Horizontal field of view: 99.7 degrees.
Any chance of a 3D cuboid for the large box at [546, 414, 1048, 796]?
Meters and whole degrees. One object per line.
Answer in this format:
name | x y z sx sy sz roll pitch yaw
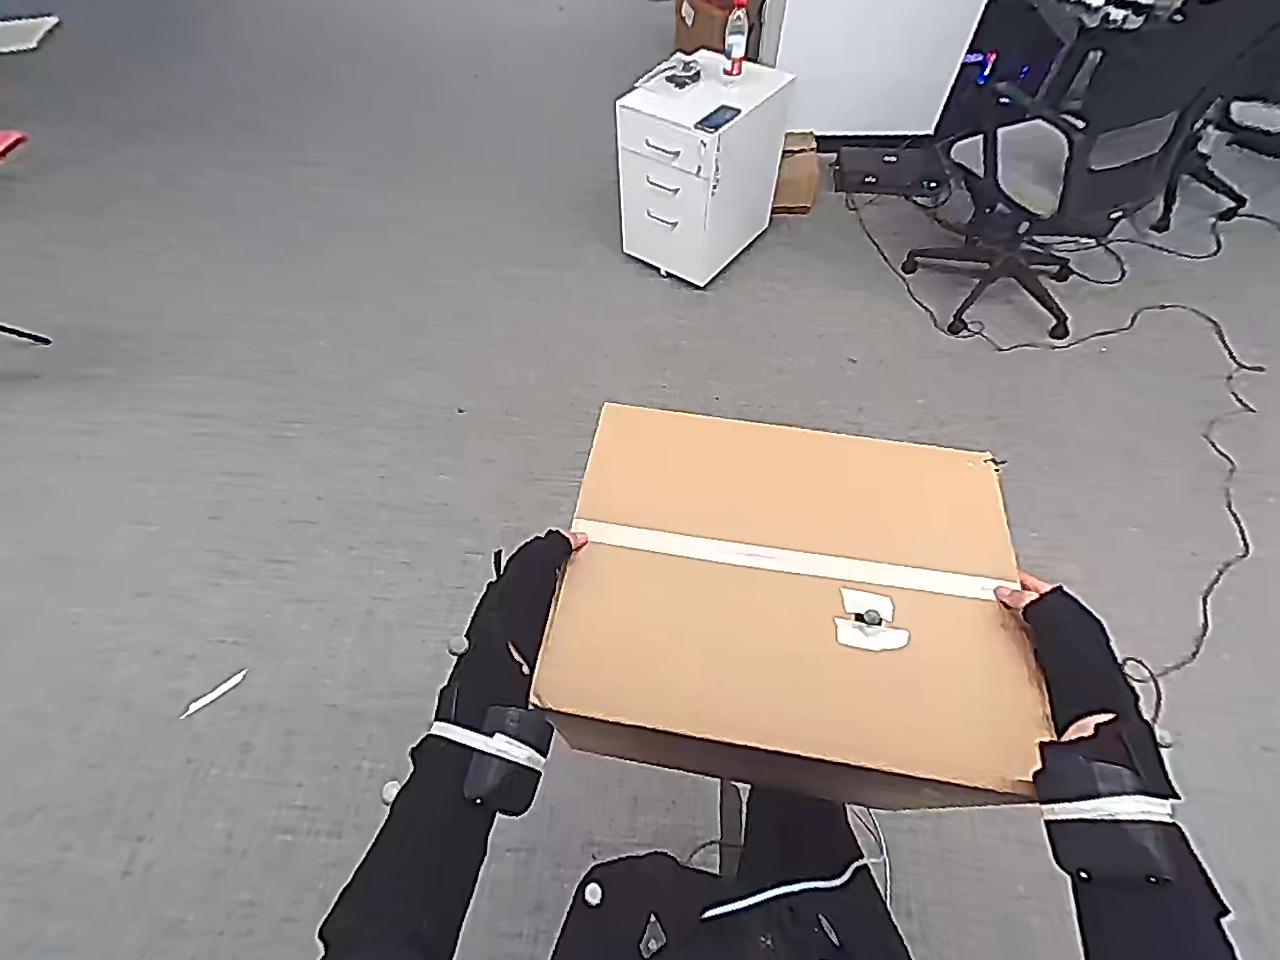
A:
large box | 0.135 0.157 0.628 0.408 0.320 0.320 8 59 4
